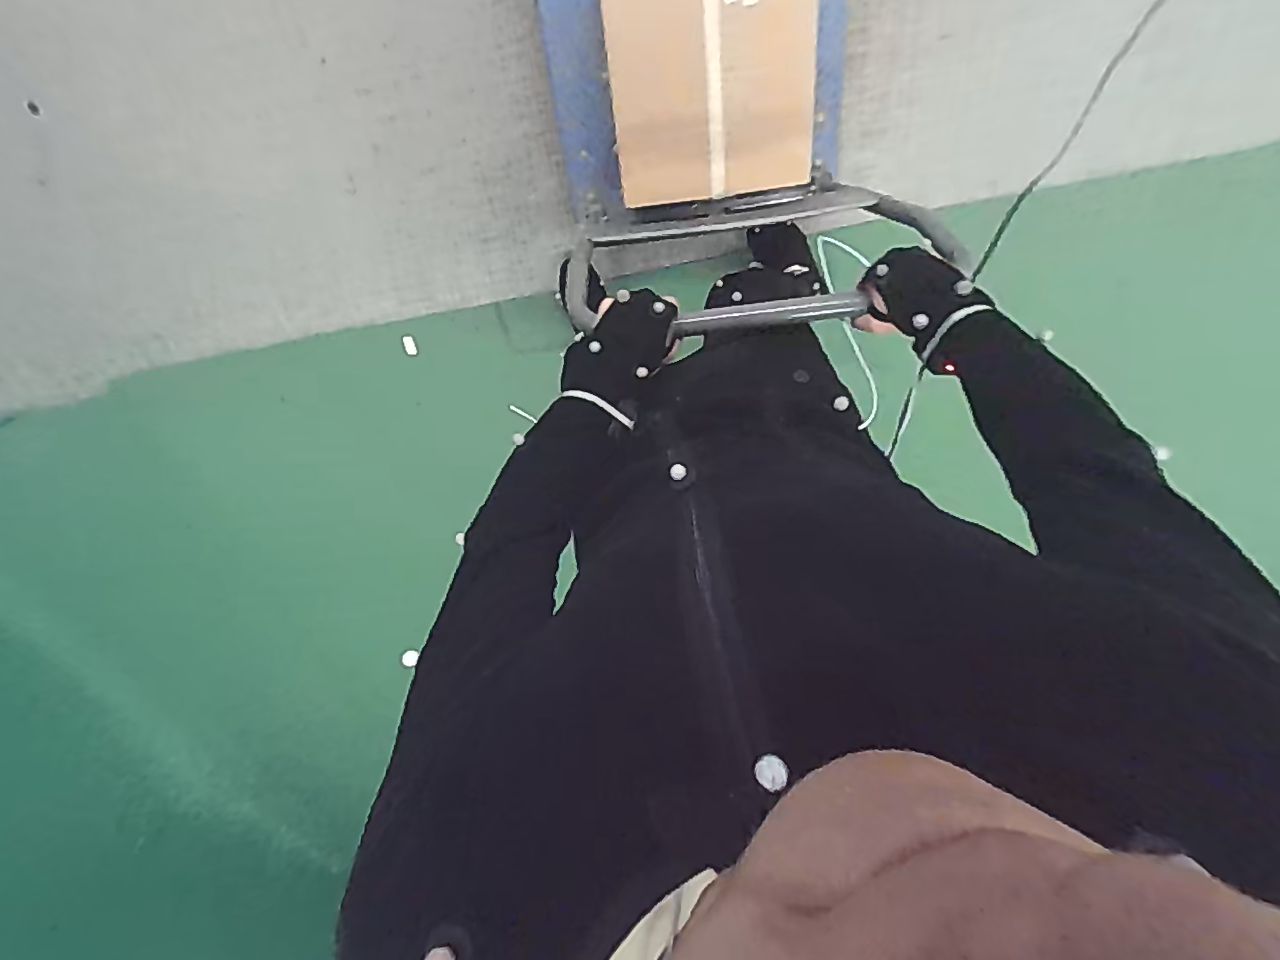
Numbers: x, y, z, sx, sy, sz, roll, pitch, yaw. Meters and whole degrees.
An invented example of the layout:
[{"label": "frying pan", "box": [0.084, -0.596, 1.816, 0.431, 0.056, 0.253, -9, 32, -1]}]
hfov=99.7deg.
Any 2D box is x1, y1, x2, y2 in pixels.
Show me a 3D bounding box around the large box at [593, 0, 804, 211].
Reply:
[{"label": "large box", "box": [0.097, -0.727, 0.958, 0.320, 0.320, 0.408, -6, 120, 3]}]
